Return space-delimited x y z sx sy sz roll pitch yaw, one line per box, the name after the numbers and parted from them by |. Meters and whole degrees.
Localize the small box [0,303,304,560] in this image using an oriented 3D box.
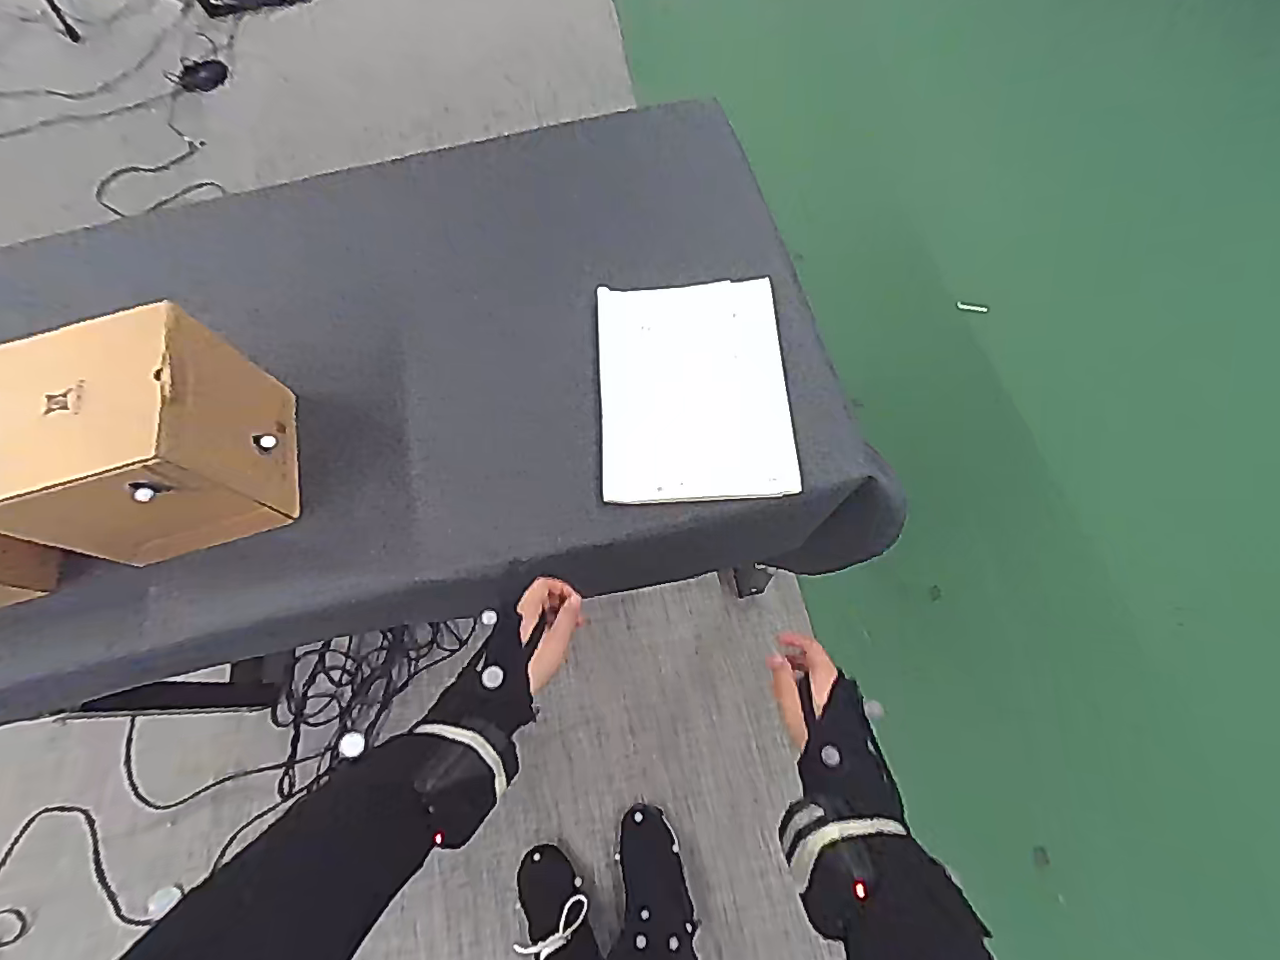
-0.469 -0.035 0.530 0.179 0.176 0.168 -17 67 -2 | small box
